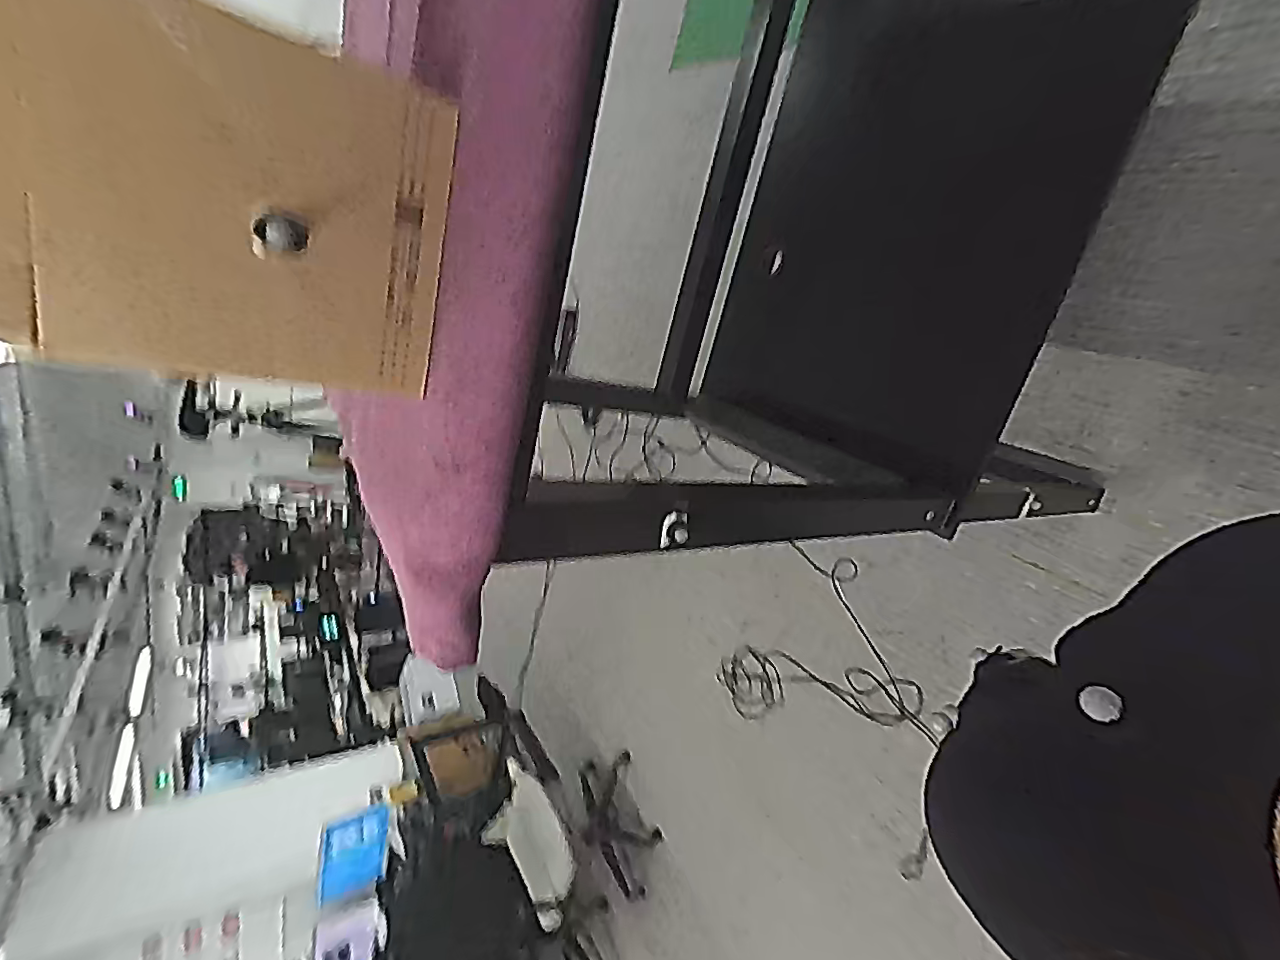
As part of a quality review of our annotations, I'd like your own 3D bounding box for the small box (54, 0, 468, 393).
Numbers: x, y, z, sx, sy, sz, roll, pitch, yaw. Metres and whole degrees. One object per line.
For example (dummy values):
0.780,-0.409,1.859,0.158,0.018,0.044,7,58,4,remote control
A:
-0.220,-0.157,0.339,0.179,0.176,0.168,33,114,49,small box
